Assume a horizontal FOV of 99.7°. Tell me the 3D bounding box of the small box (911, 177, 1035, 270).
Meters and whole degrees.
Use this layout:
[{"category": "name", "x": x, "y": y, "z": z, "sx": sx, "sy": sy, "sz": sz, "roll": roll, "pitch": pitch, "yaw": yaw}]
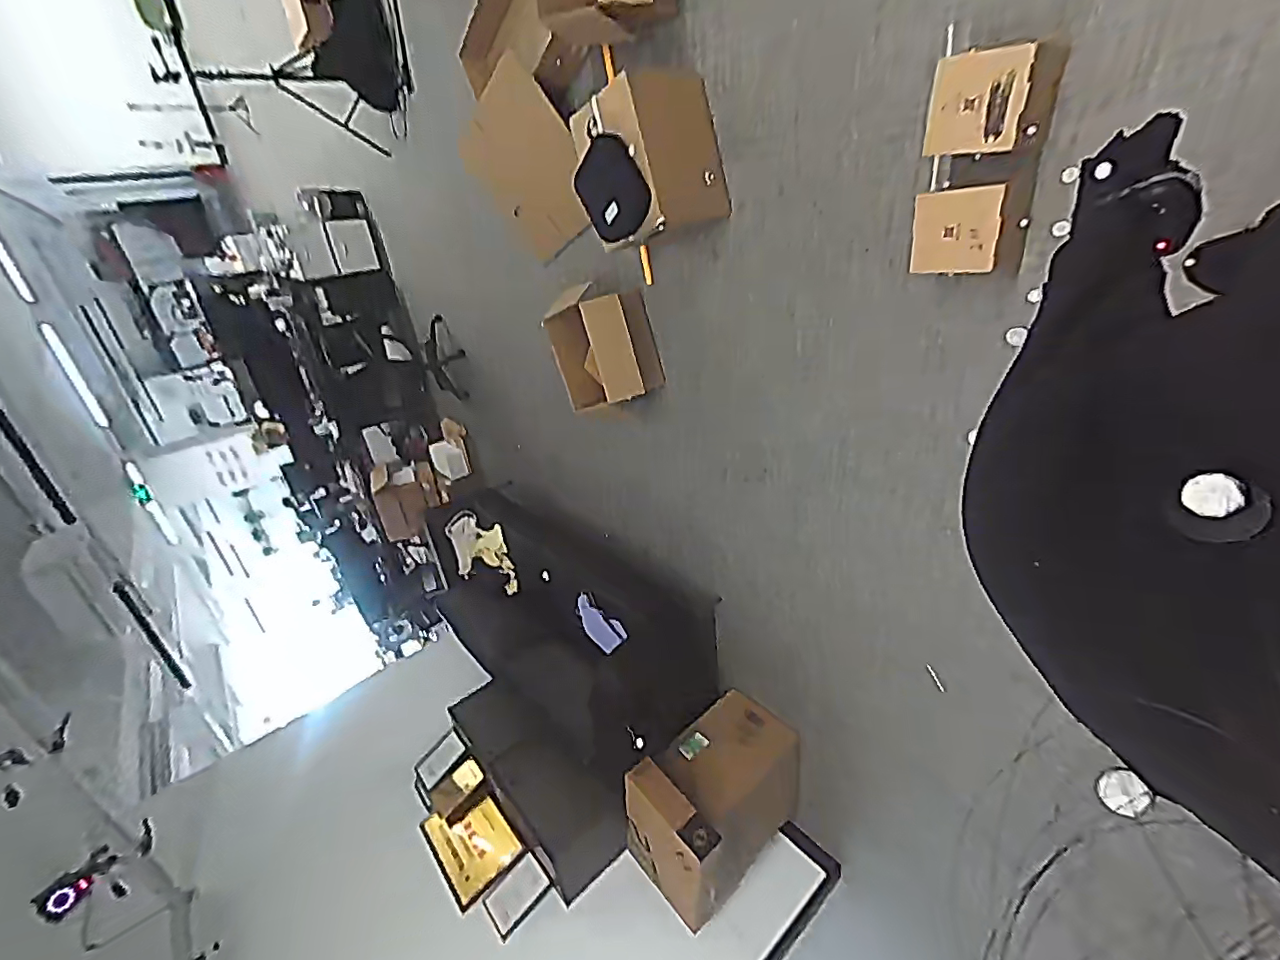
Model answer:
[{"category": "small box", "x": 0.733, "y": -0.565, "z": 1.197, "sx": 0.179, "sy": 0.176, "sz": 0.168, "roll": 22, "pitch": 130, "yaw": 46}]
